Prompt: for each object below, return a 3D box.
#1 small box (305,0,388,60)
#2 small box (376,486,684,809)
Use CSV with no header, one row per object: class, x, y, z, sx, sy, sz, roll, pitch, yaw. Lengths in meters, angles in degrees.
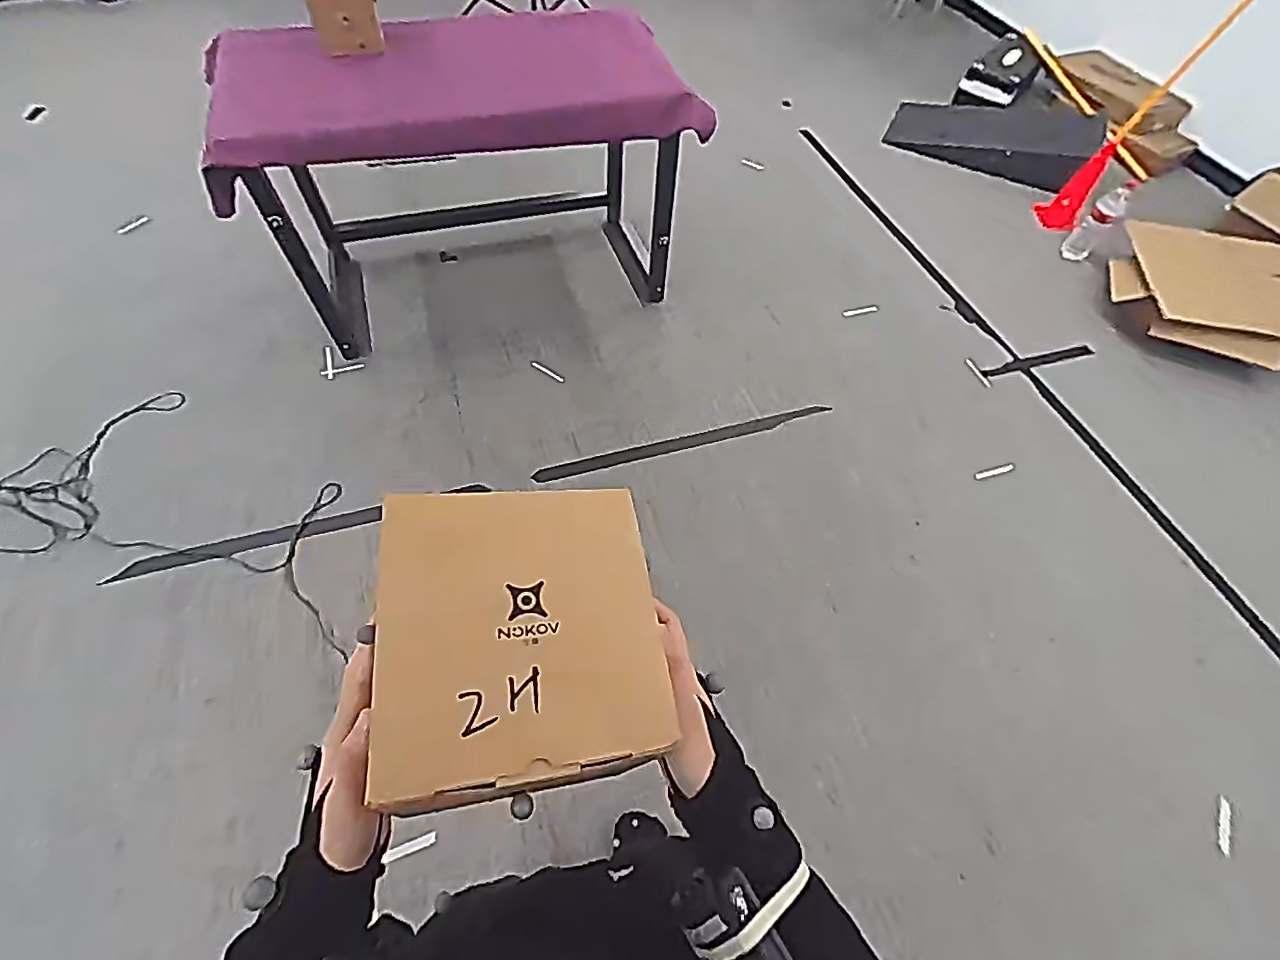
small box,-0.812,-1.292,1.491,0.168,0.176,0.179,-15,63,-13
small box,-0.086,0.122,0.393,0.168,0.176,0.179,-2,58,-18
